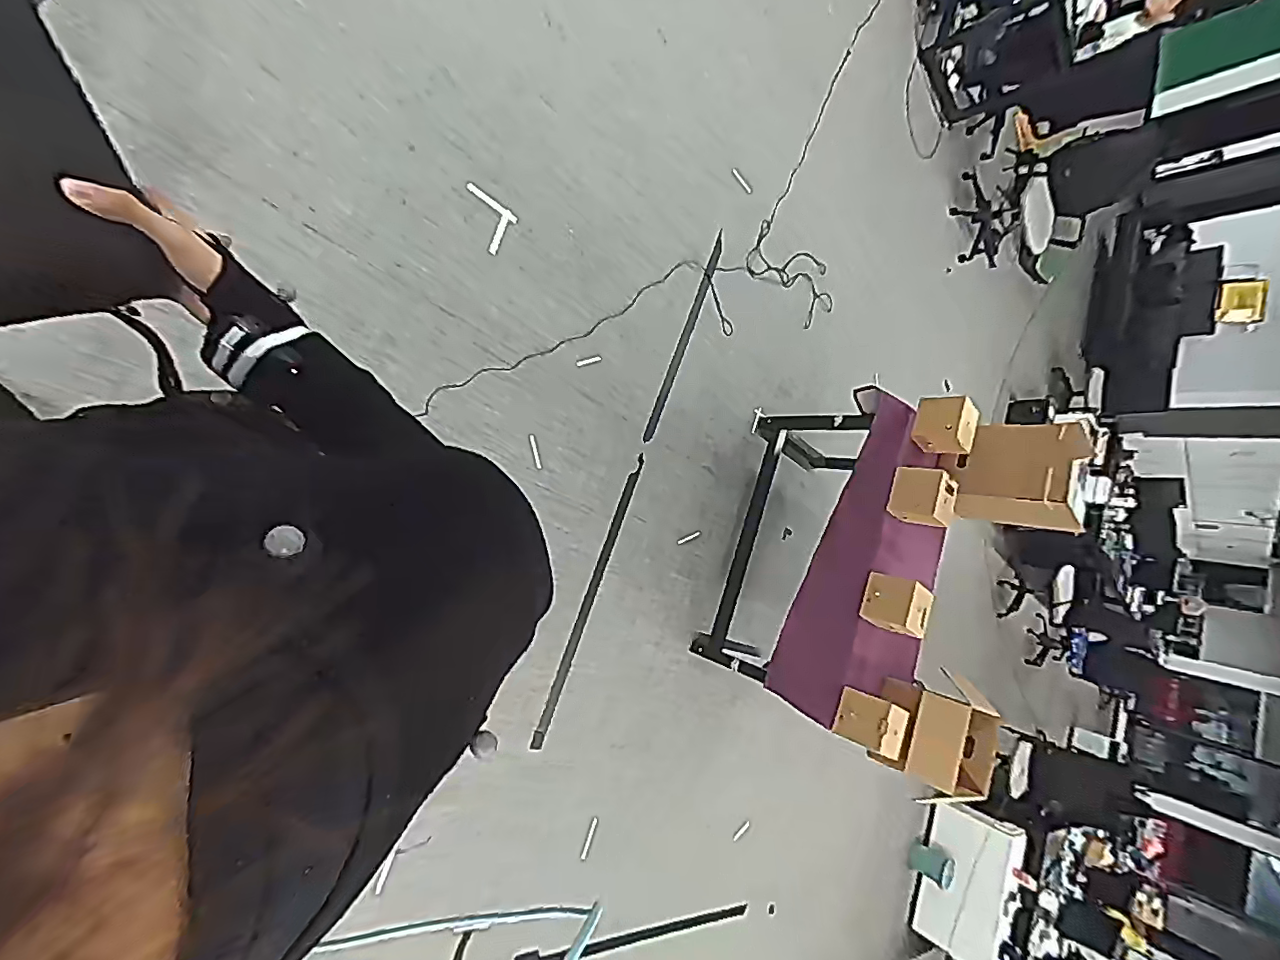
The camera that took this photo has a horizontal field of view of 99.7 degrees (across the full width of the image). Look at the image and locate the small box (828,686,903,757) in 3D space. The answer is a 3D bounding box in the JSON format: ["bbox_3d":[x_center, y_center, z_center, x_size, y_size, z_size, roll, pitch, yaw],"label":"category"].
[{"bbox_3d":[0.785,0.838,1.882,0.179,0.176,0.168,36,70,-38],"label":"small box"}]

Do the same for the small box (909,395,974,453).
[{"bbox_3d":[1.177,-0.219,2.117,0.168,0.176,0.179,27,78,-40],"label":"small box"}]

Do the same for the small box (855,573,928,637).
[{"bbox_3d":[0.908,0.447,1.952,0.179,0.176,0.168,32,73,-38],"label":"small box"}]
